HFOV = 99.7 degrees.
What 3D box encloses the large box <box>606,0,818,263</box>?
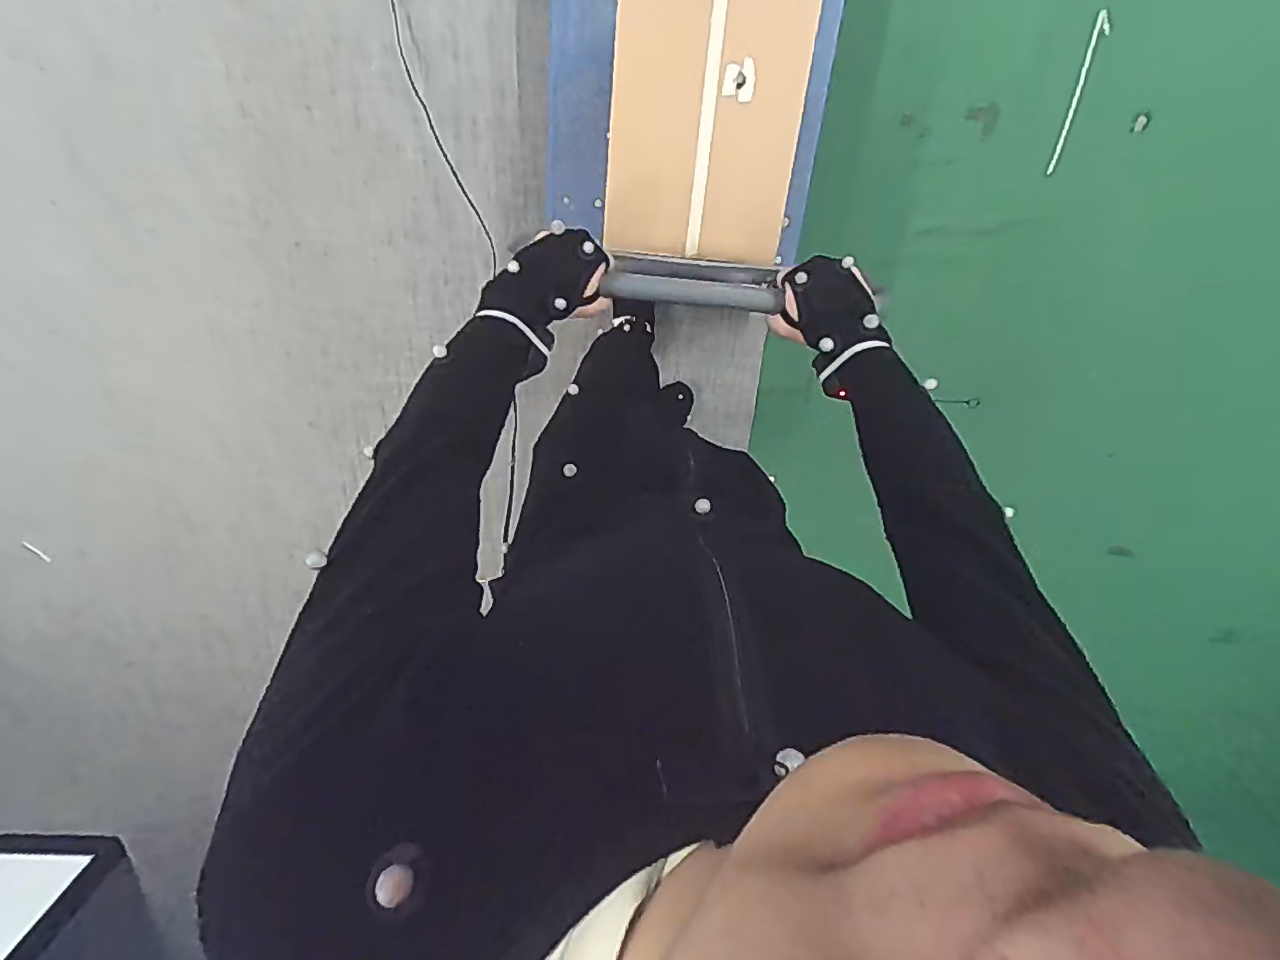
[{"bbox_3d":[0.110,-0.638,1.032,0.320,0.320,0.408,5,112,-2],"label":"large box"}]
